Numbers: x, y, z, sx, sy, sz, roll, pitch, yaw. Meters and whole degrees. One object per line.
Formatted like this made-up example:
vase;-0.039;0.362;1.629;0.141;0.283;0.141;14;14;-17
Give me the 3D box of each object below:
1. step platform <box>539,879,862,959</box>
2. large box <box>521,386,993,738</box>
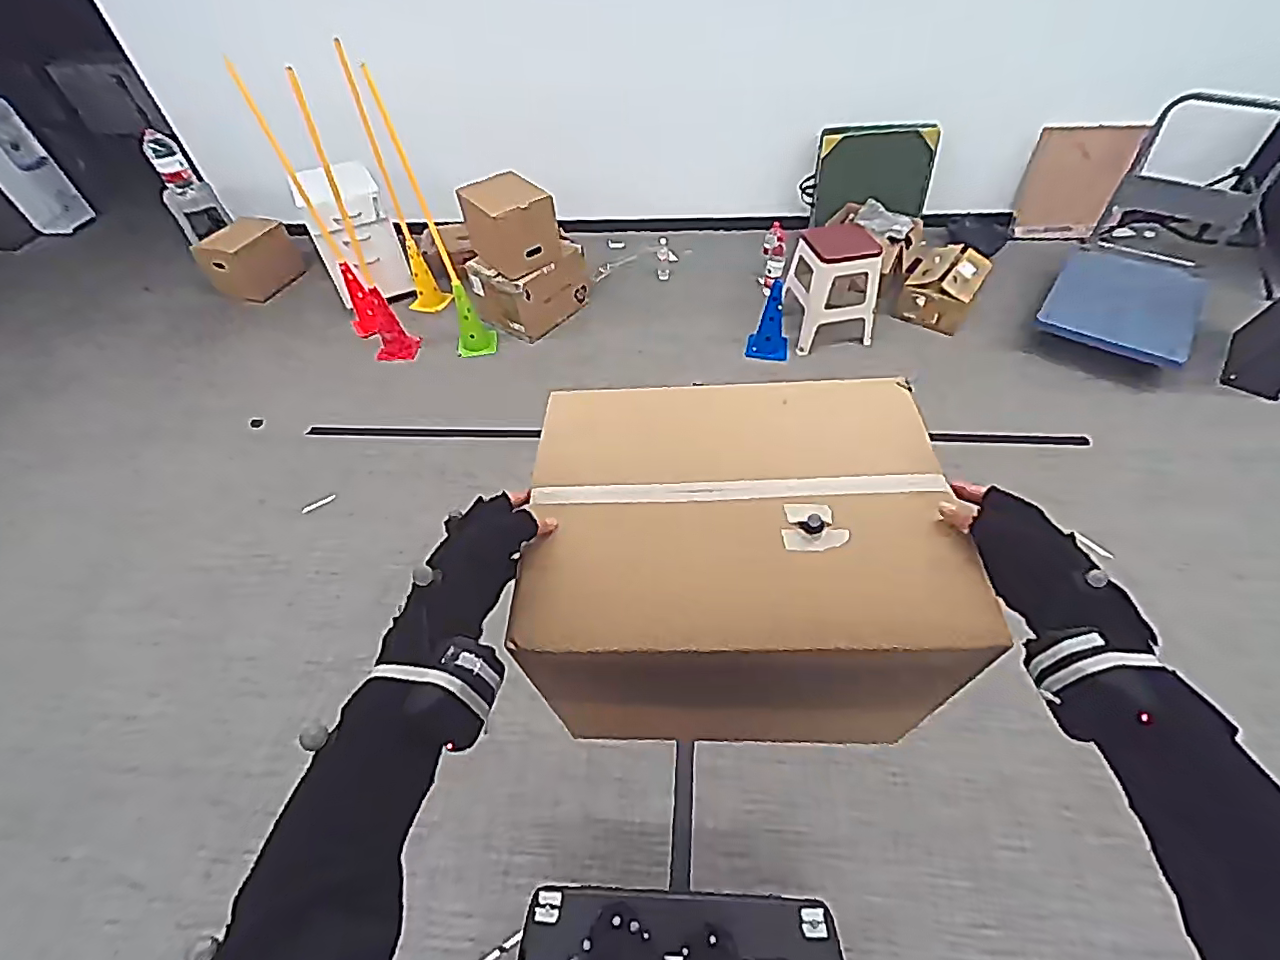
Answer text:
step platform;0.125;1.047;1.163;0.684;0.204;0.286;0;50;3
large box;0.103;0.111;0.659;0.408;0.320;0.320;-2;53;4
